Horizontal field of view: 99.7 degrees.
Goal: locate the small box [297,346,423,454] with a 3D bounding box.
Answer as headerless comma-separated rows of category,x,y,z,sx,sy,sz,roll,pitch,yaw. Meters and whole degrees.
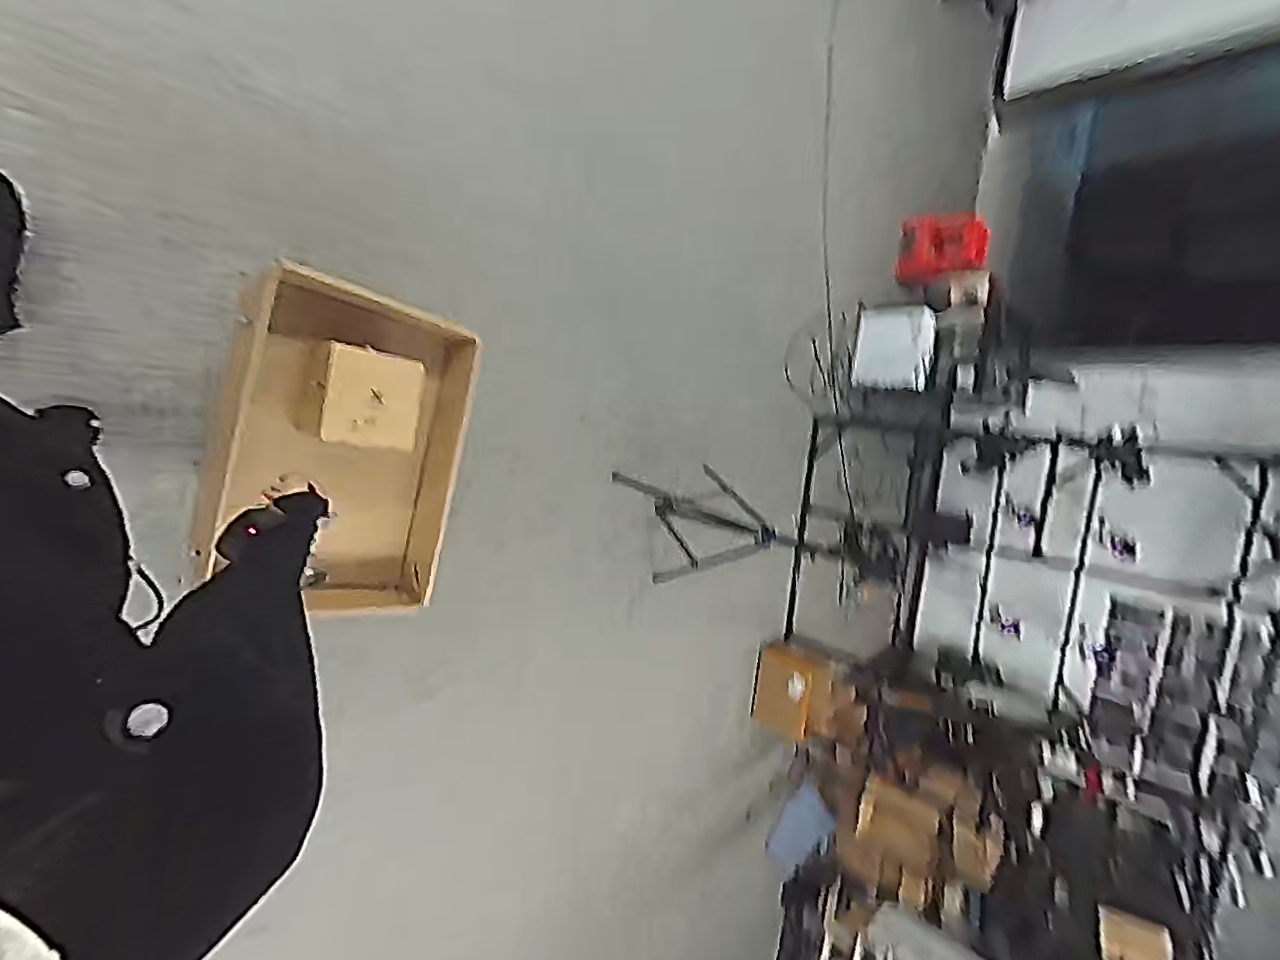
small box,-0.554,-0.157,1.063,0.168,0.176,0.179,8,94,-46
